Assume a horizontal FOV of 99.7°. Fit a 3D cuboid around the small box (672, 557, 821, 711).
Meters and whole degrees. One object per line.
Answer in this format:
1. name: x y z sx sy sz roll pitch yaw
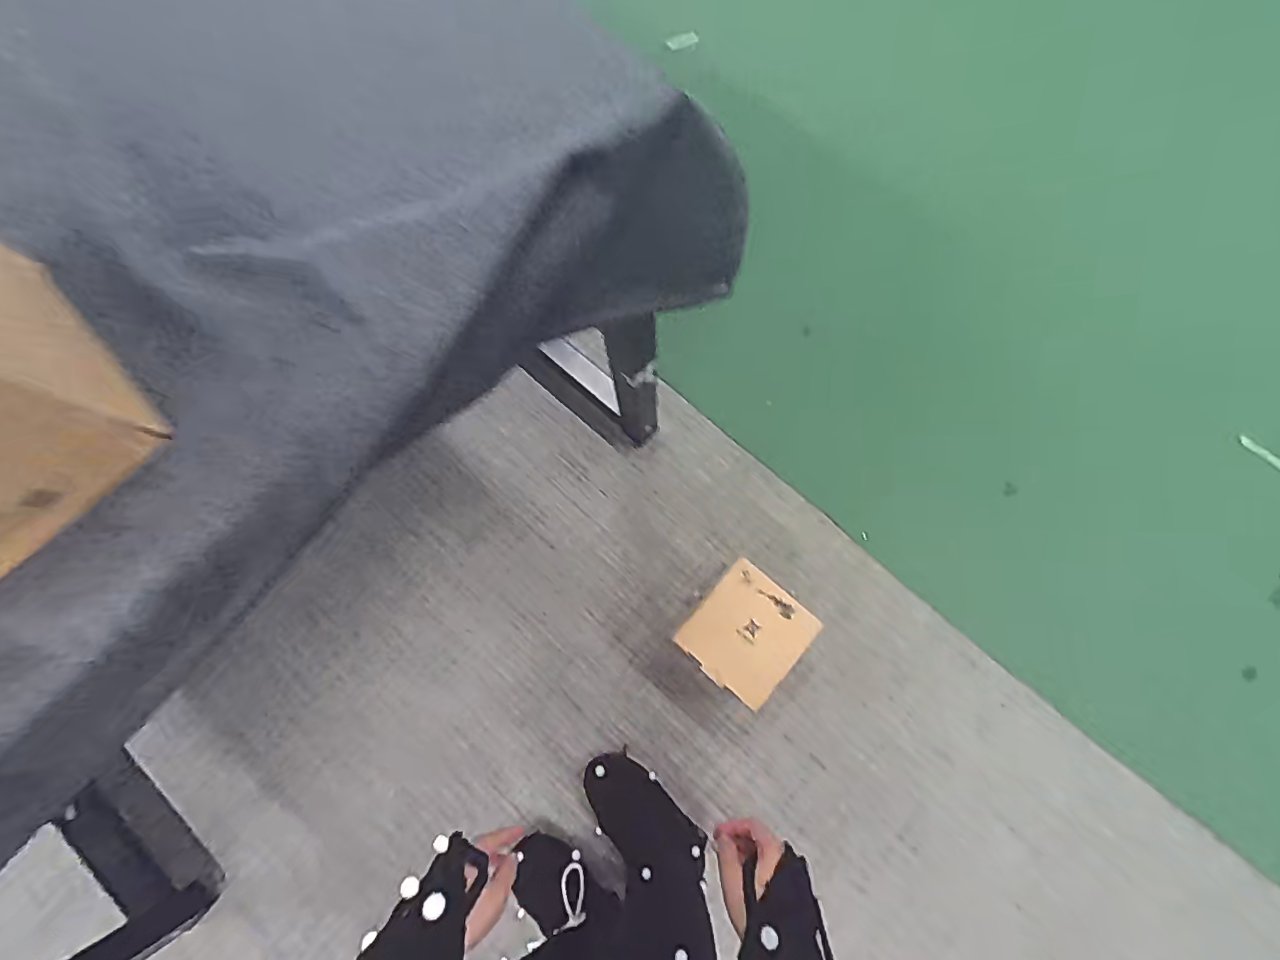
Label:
1. small box: 0.172 0.256 0.916 0.168 0.176 0.179 40 81 11
